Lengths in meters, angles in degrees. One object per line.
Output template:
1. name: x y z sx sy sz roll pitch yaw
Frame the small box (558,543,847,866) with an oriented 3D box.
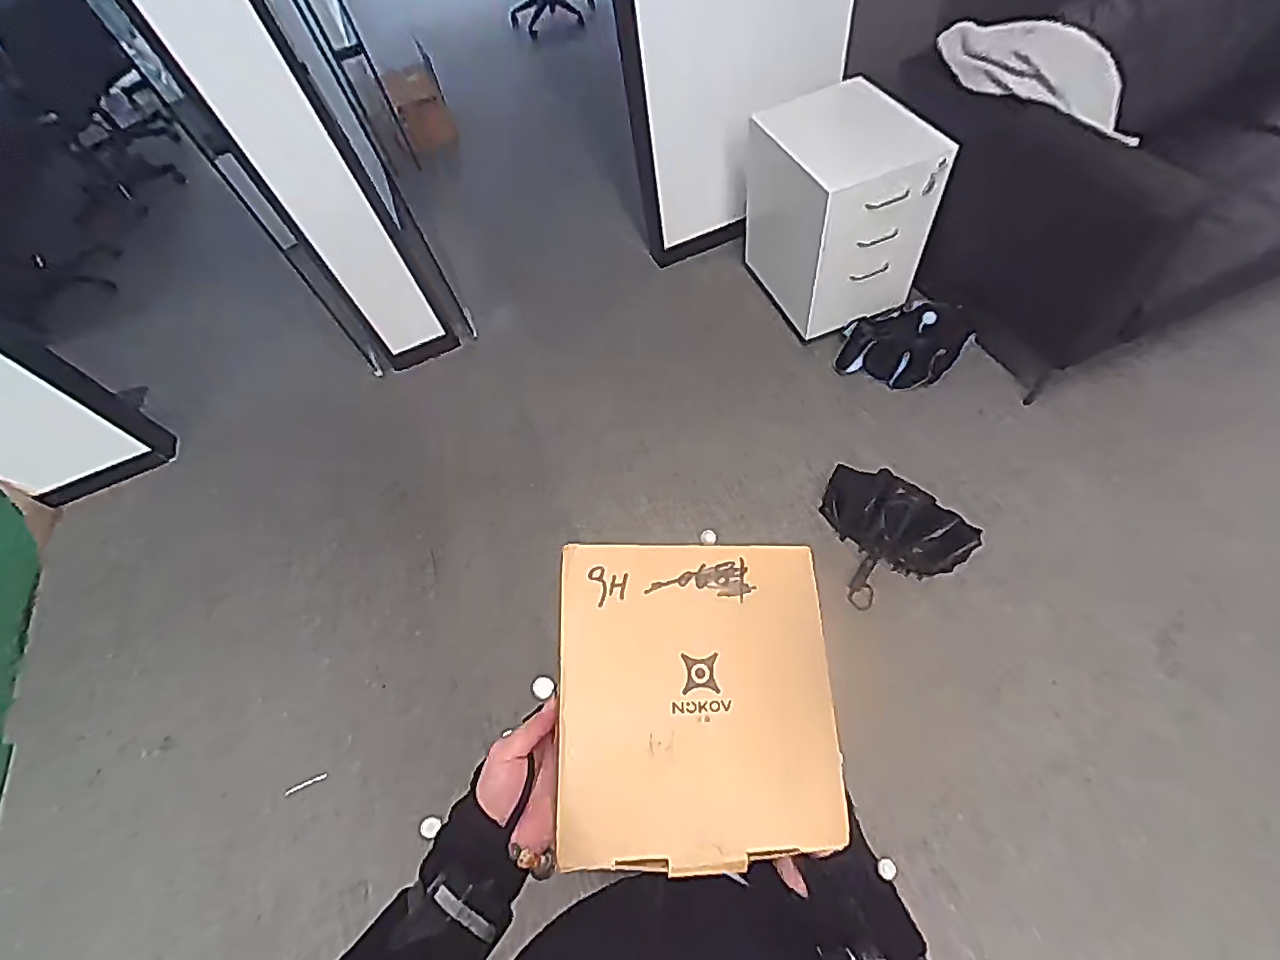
1. small box: 0.026 0.148 0.397 0.168 0.176 0.179 1 72 -9
